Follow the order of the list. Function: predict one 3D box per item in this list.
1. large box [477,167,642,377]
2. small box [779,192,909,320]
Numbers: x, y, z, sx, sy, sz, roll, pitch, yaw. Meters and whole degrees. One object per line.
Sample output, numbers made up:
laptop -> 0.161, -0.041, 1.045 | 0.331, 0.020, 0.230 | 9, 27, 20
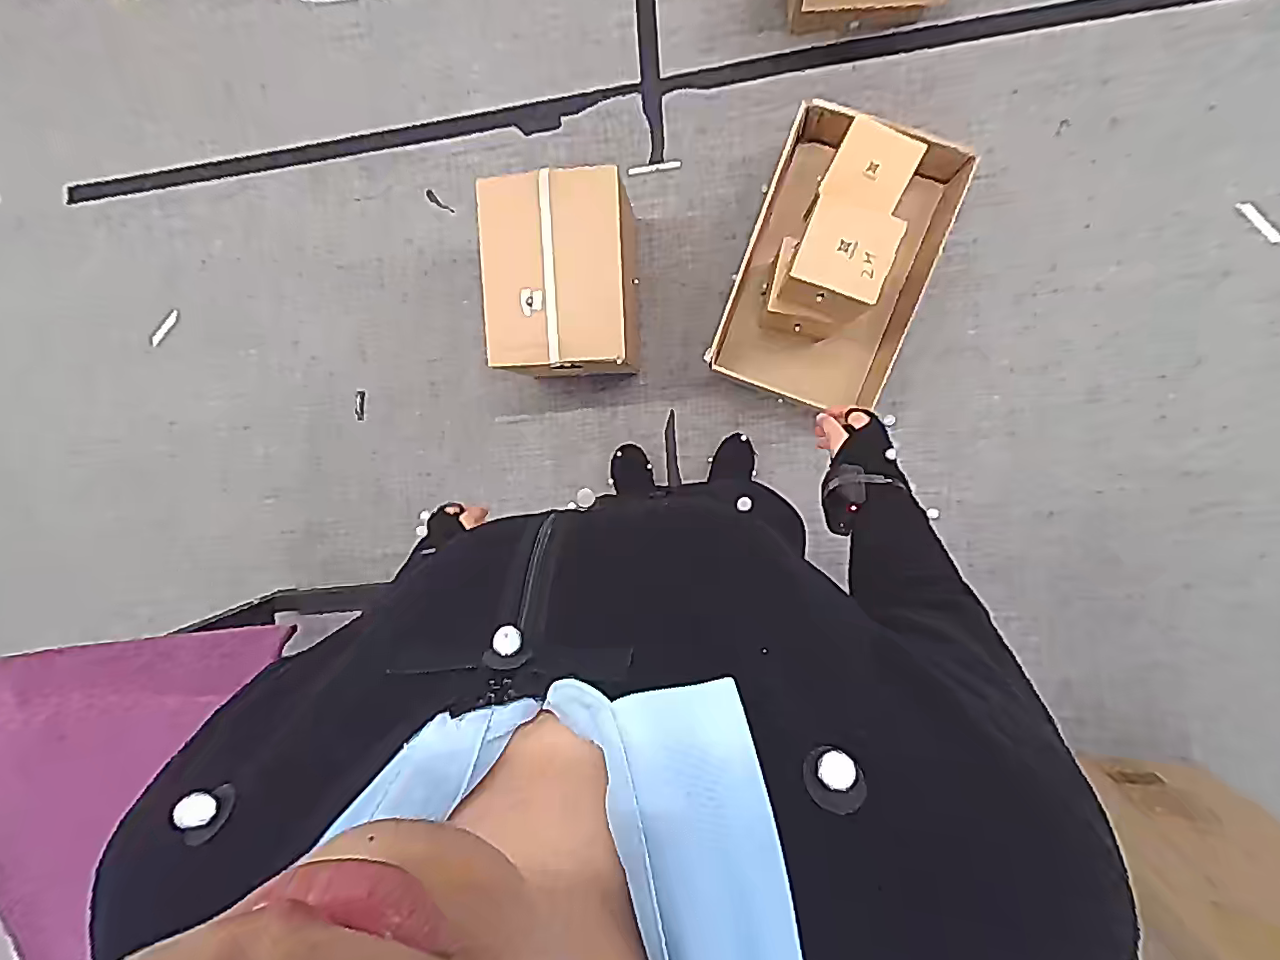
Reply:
large box -> -0.169, -0.468, 1.307 | 0.320, 0.320, 0.408 | -2, 97, 8
small box -> 0.401, -0.443, 1.099 | 0.179, 0.176, 0.168 | 21, 96, 3
